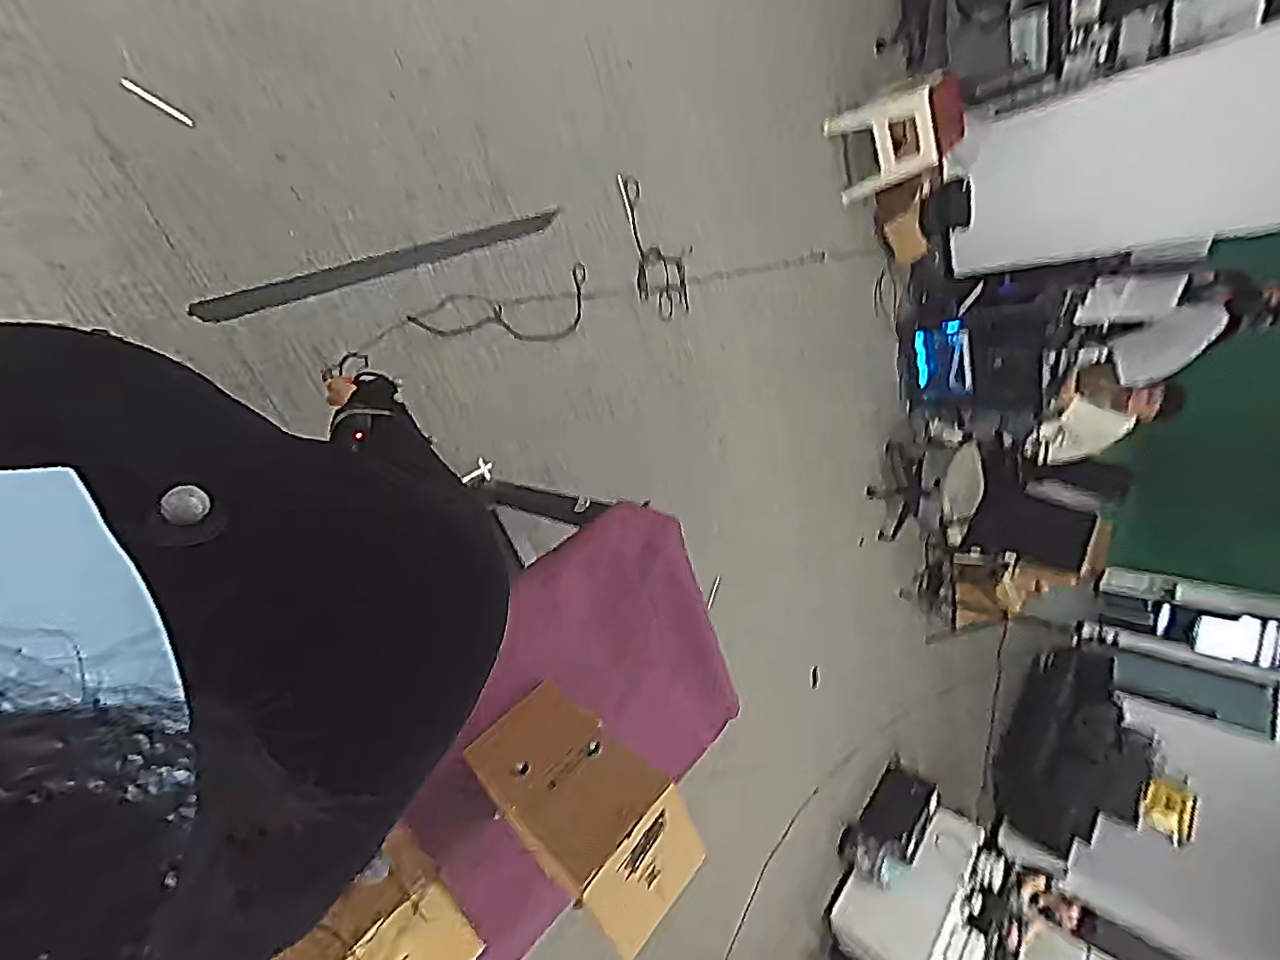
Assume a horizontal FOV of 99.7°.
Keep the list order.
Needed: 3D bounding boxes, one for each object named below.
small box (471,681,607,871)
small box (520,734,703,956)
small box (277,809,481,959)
[{"bbox_3d":[-0.153,0.471,0.887,0.179,0.176,0.168,-35,119,-33],"label":"small box"},{"bbox_3d":[-0.042,0.497,0.768,0.168,0.176,0.179,-36,120,-31],"label":"small box"},{"bbox_3d":[-0.351,0.596,0.731,0.168,0.176,0.179,-35,119,-33],"label":"small box"}]
